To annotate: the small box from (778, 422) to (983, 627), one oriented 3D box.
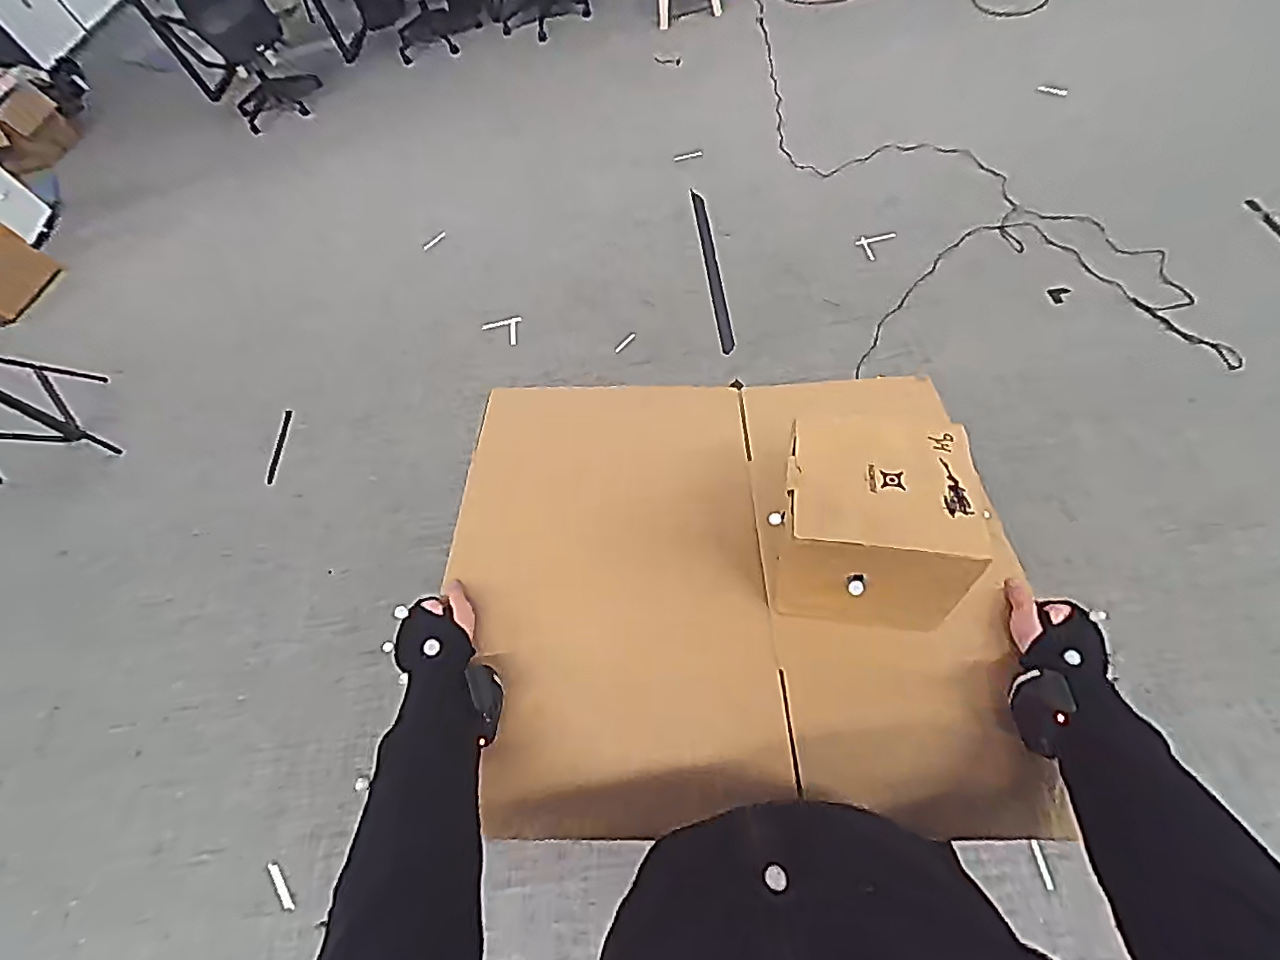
[{"bbox_3d":[0.252,0.053,0.613,0.179,0.176,0.168,4,53,12],"label":"small box"}]
